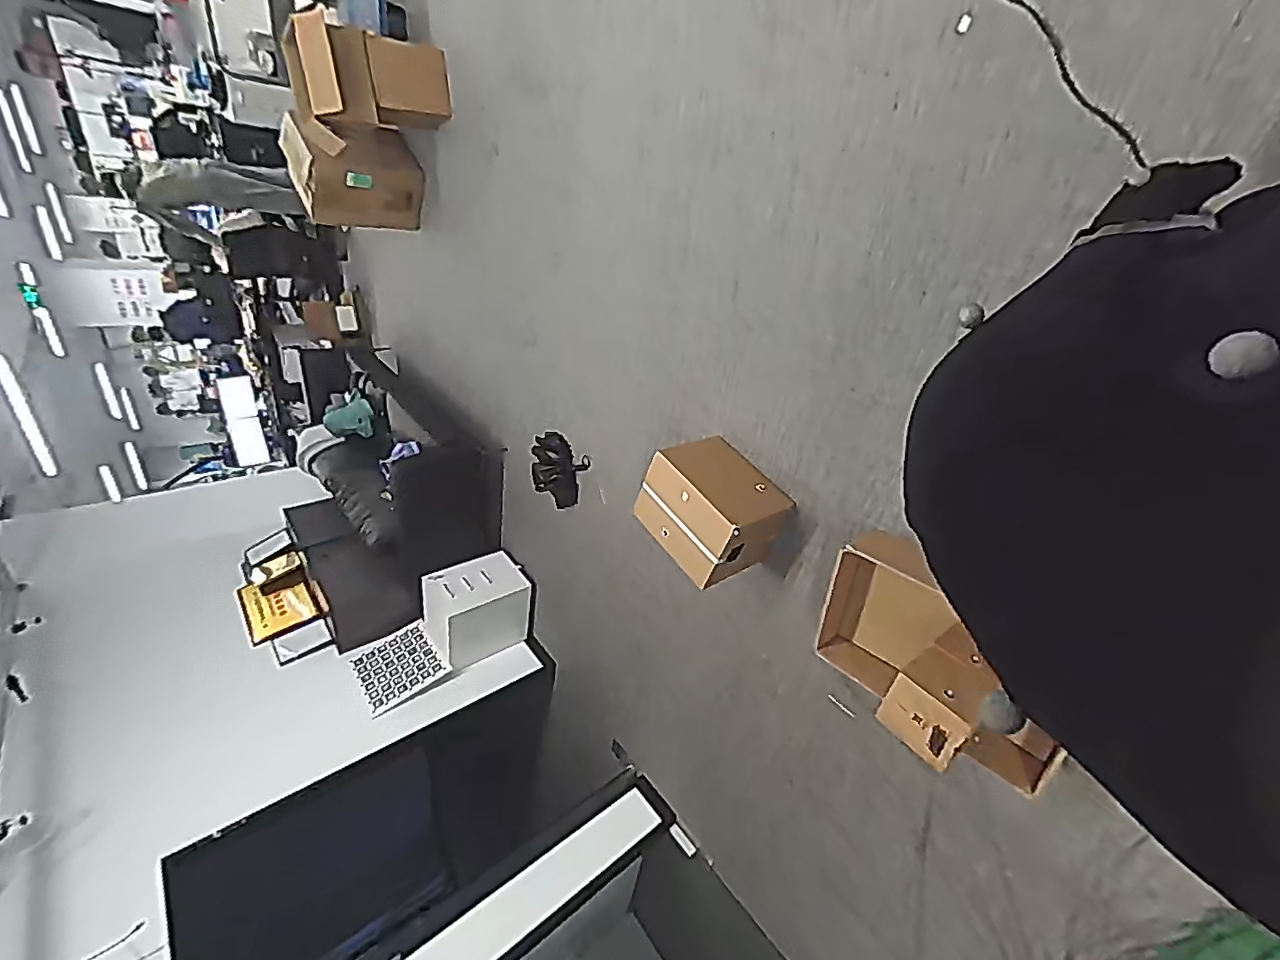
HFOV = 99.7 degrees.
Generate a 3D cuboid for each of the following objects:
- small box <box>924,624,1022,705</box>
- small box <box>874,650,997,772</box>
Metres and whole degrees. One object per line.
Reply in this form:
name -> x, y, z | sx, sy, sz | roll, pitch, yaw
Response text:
small box -> 0.830, 0.502, 1.386 | 0.179, 0.176, 0.168 | 39, 130, 40
small box -> 0.705, 0.539, 1.287 | 0.179, 0.176, 0.168 | 38, 130, 40
